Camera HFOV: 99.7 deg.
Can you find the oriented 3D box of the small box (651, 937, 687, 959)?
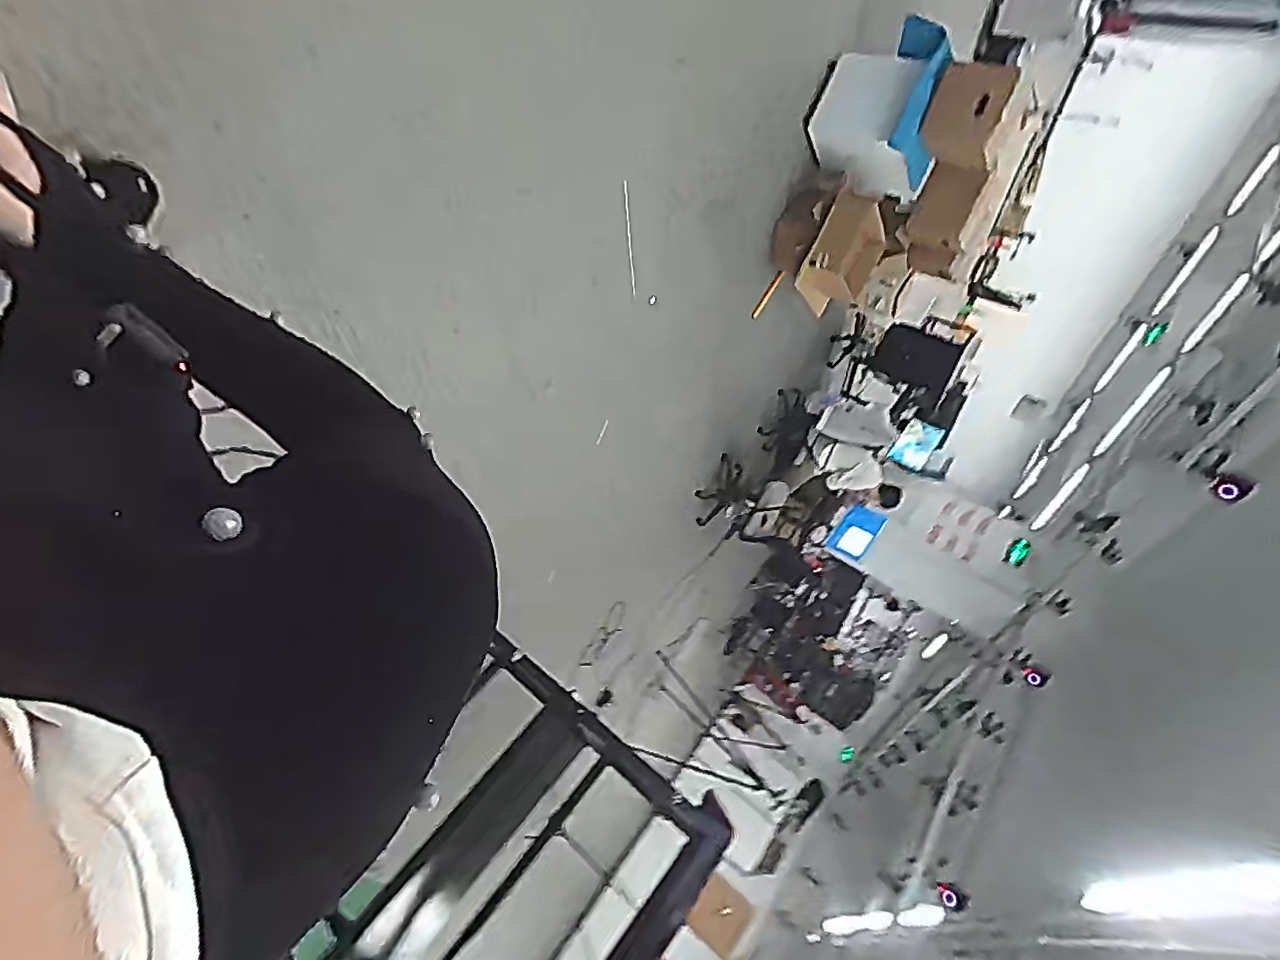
[{"bbox_3d":[0.089,1.576,1.674,0.179,0.176,0.168,-43,151,-31],"label":"small box"}]

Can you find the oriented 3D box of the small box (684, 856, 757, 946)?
[{"bbox_3d":[0.266,1.397,1.800,0.179,0.176,0.168,-44,150,-30],"label":"small box"}]
